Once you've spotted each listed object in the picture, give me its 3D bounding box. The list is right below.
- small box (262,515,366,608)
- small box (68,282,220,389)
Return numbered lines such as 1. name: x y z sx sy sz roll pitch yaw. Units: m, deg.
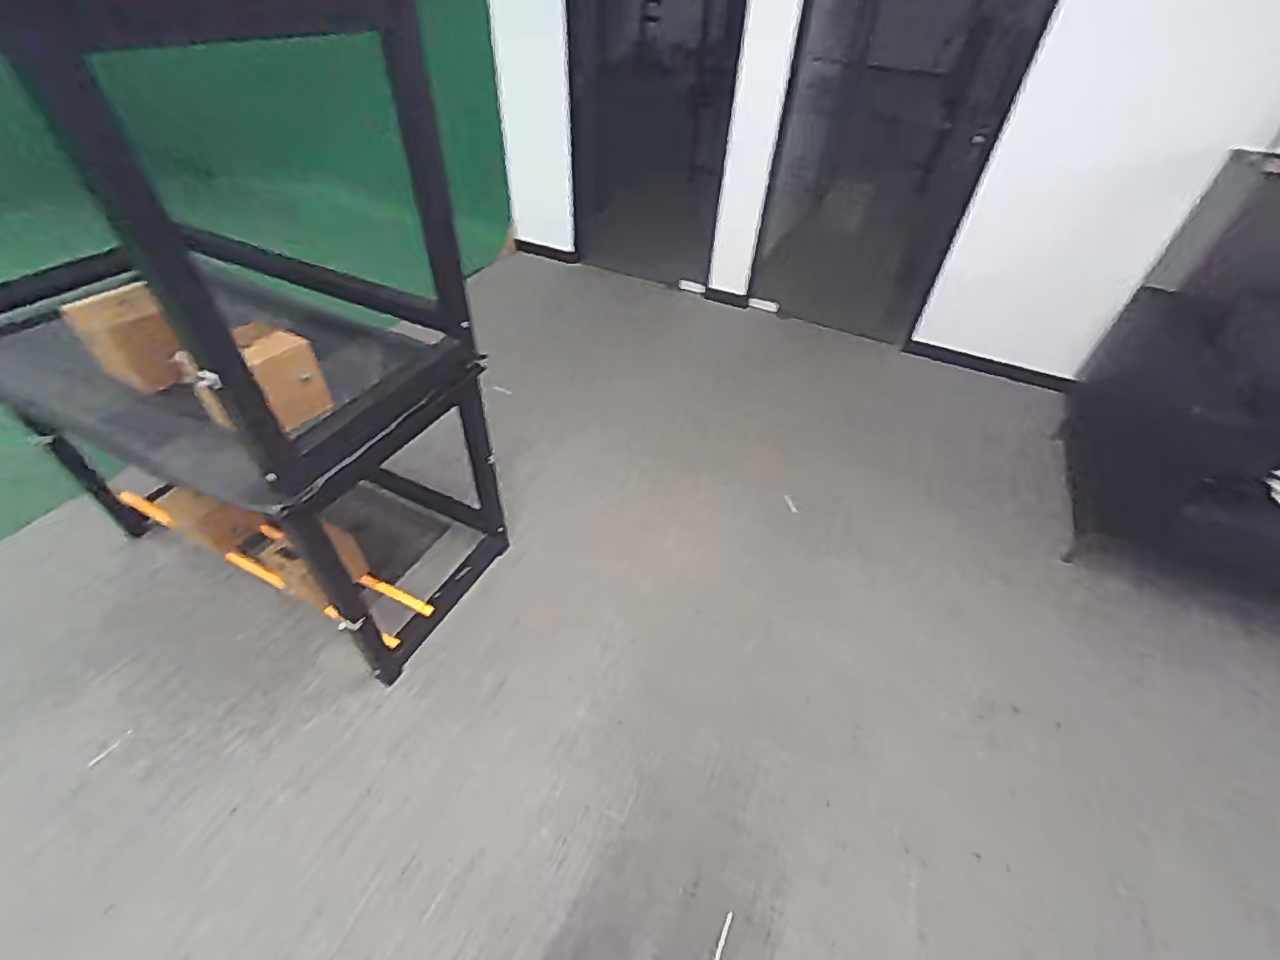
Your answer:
1. small box: -0.939 0.240 1.575 0.168 0.176 0.179 23 47 19
2. small box: -1.142 -0.335 1.257 0.179 0.176 0.168 23 47 18
